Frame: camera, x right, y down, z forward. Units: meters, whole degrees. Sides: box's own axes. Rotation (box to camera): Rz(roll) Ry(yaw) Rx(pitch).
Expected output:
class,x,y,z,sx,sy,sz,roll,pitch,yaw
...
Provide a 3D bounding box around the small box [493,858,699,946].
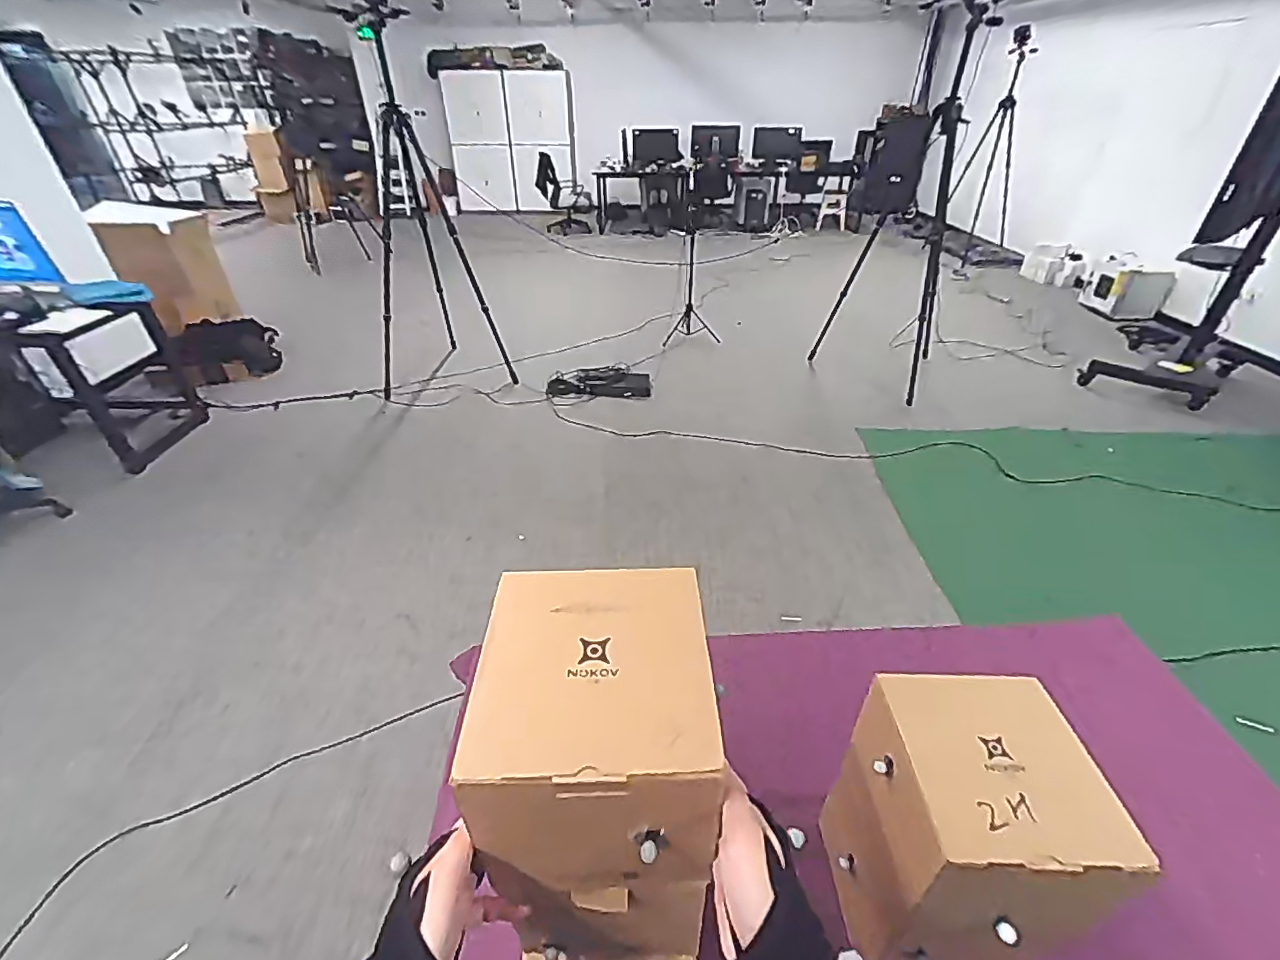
class,x,y,z,sx,sy,sz,roll,pitch,yaw
small box,-0.030,0.324,0.531,0.168,0.176,0.179,1,35,1

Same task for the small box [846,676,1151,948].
class,x,y,z,sx,sy,sz,roll,pitch,yaw
small box,0.320,0.323,0.536,0.168,0.176,0.179,2,36,2

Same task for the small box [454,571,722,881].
class,x,y,z,sx,sy,sz,roll,pitch,yaw
small box,-0.030,0.193,0.433,0.168,0.176,0.179,1,35,-1
